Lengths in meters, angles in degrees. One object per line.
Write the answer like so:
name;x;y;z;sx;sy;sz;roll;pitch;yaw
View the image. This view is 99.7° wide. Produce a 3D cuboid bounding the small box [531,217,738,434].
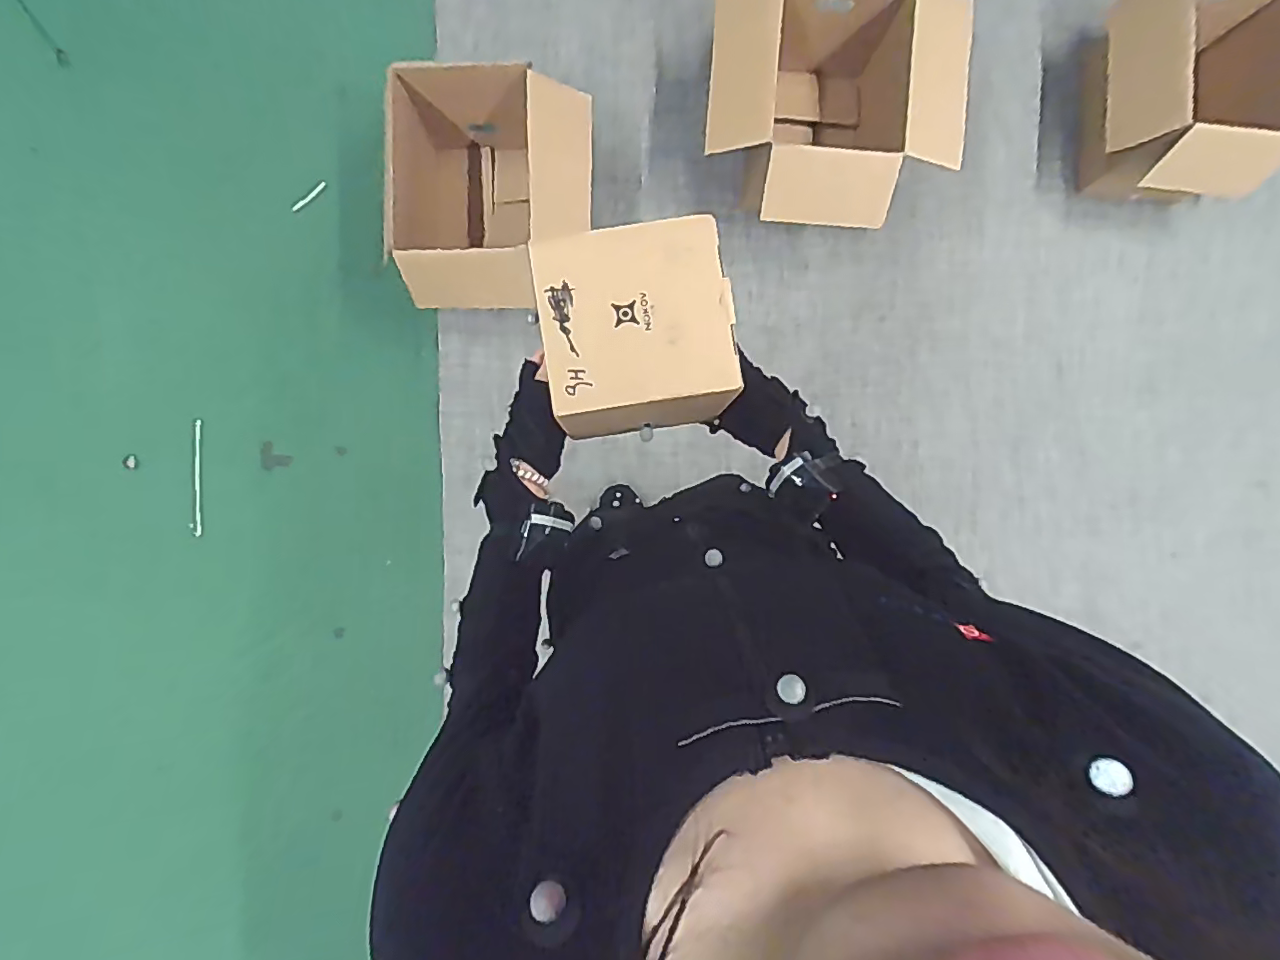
small box;-0.008;-0.149;0.574;0.179;0.176;0.168;-8;86;-2
